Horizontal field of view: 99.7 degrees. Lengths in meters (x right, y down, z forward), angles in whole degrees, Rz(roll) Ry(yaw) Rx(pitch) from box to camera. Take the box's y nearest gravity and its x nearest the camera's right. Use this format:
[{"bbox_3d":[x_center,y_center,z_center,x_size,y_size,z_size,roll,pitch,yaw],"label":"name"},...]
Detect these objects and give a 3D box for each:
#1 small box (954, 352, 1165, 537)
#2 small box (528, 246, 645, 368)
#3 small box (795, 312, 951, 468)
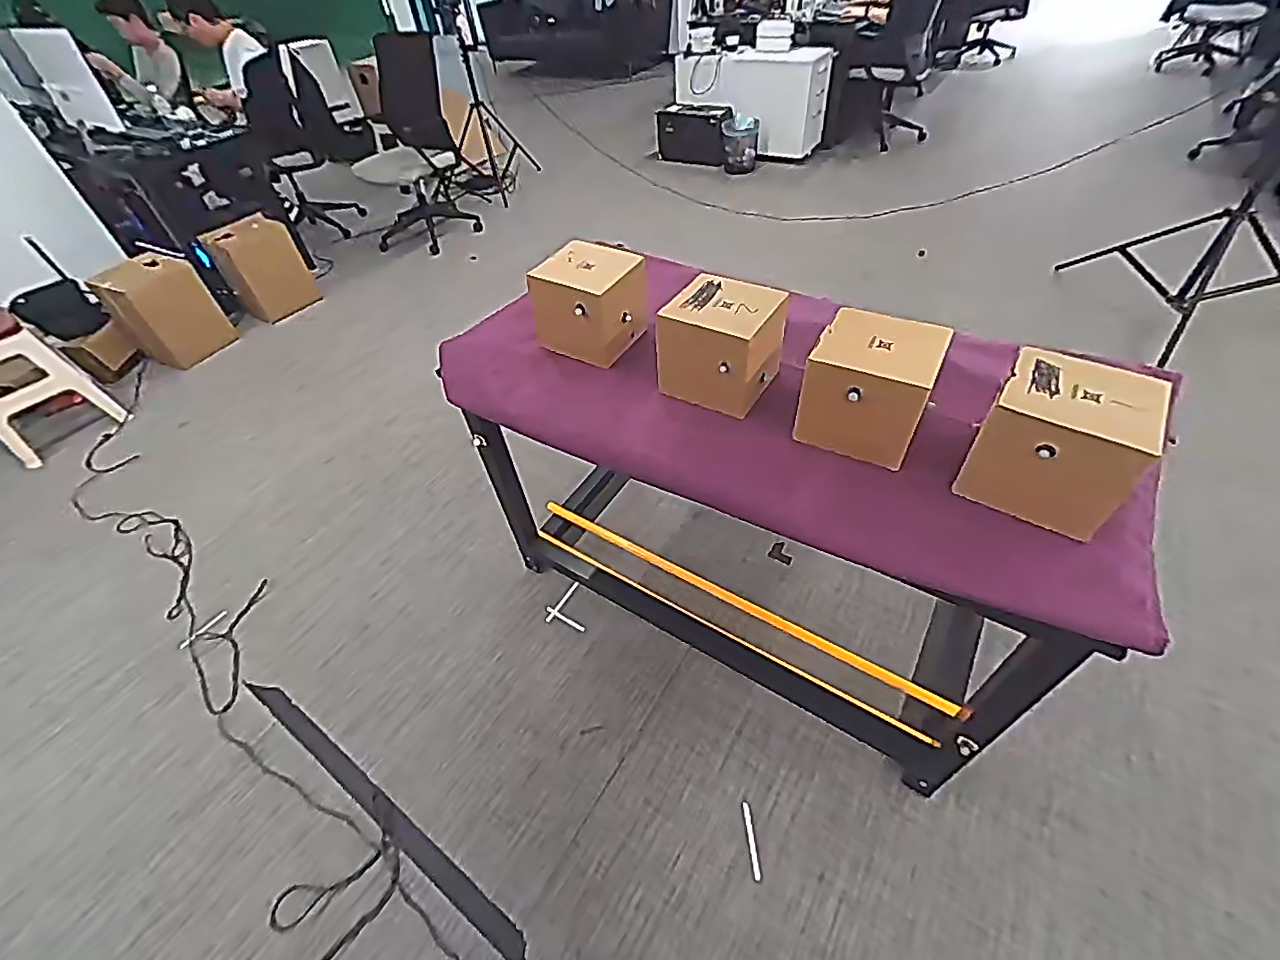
[{"bbox_3d":[0.576,-0.049,0.761,0.179,0.176,0.168,26,53,27],"label":"small box"},{"bbox_3d":[-0.101,-0.354,1.119,0.179,0.176,0.168,22,52,22],"label":"small box"},{"bbox_3d":[0.370,-0.143,0.878,0.179,0.176,0.168,21,52,24],"label":"small box"}]
